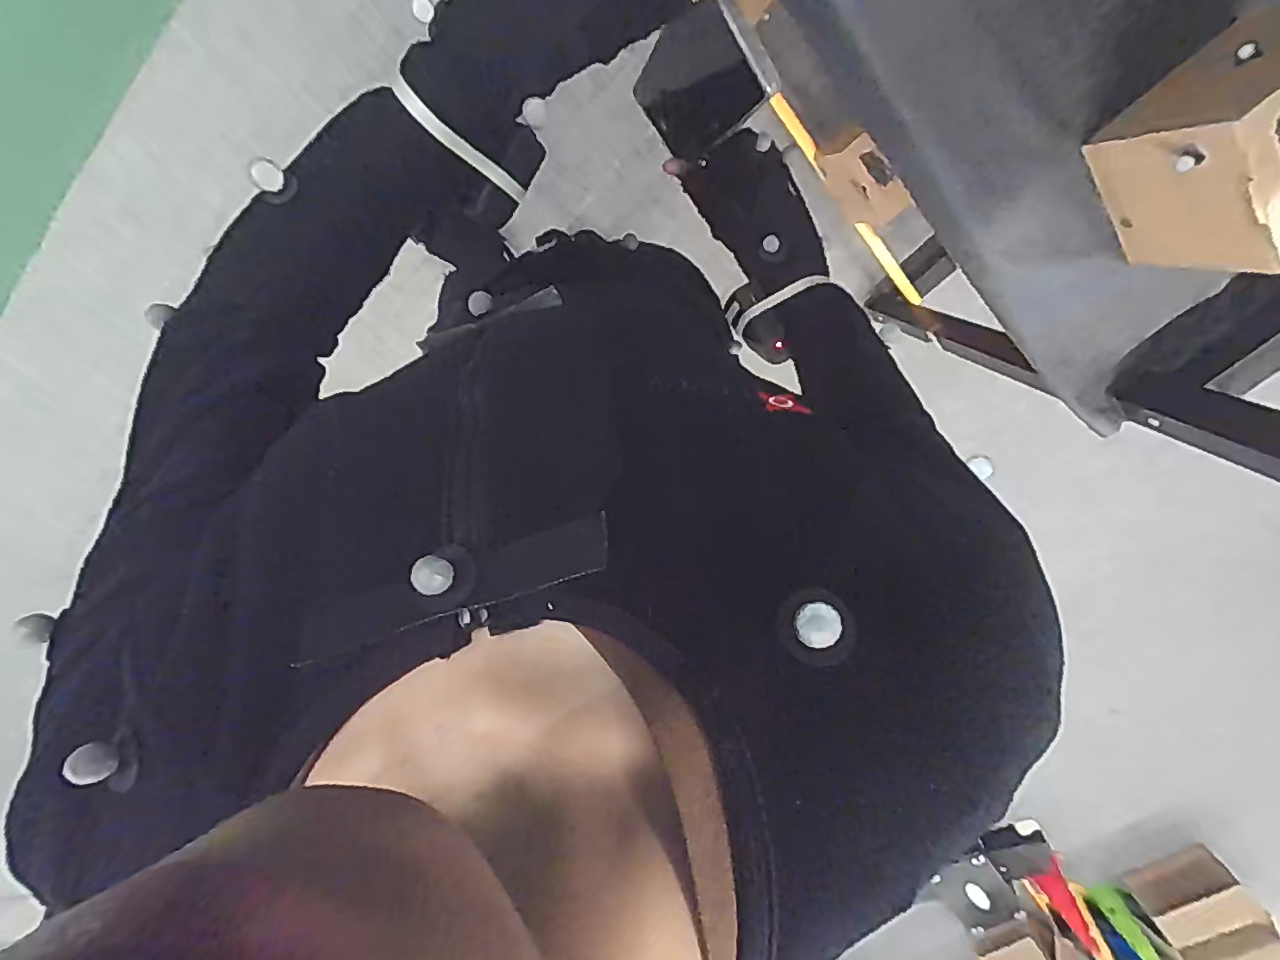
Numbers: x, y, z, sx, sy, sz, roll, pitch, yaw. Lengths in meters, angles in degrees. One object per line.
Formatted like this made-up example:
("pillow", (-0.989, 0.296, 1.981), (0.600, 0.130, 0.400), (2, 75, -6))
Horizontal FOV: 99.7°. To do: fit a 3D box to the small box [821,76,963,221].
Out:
("small box", (0.484, -0.644, 1.073), (0.179, 0.176, 0.168), (-38, 113, 15))
